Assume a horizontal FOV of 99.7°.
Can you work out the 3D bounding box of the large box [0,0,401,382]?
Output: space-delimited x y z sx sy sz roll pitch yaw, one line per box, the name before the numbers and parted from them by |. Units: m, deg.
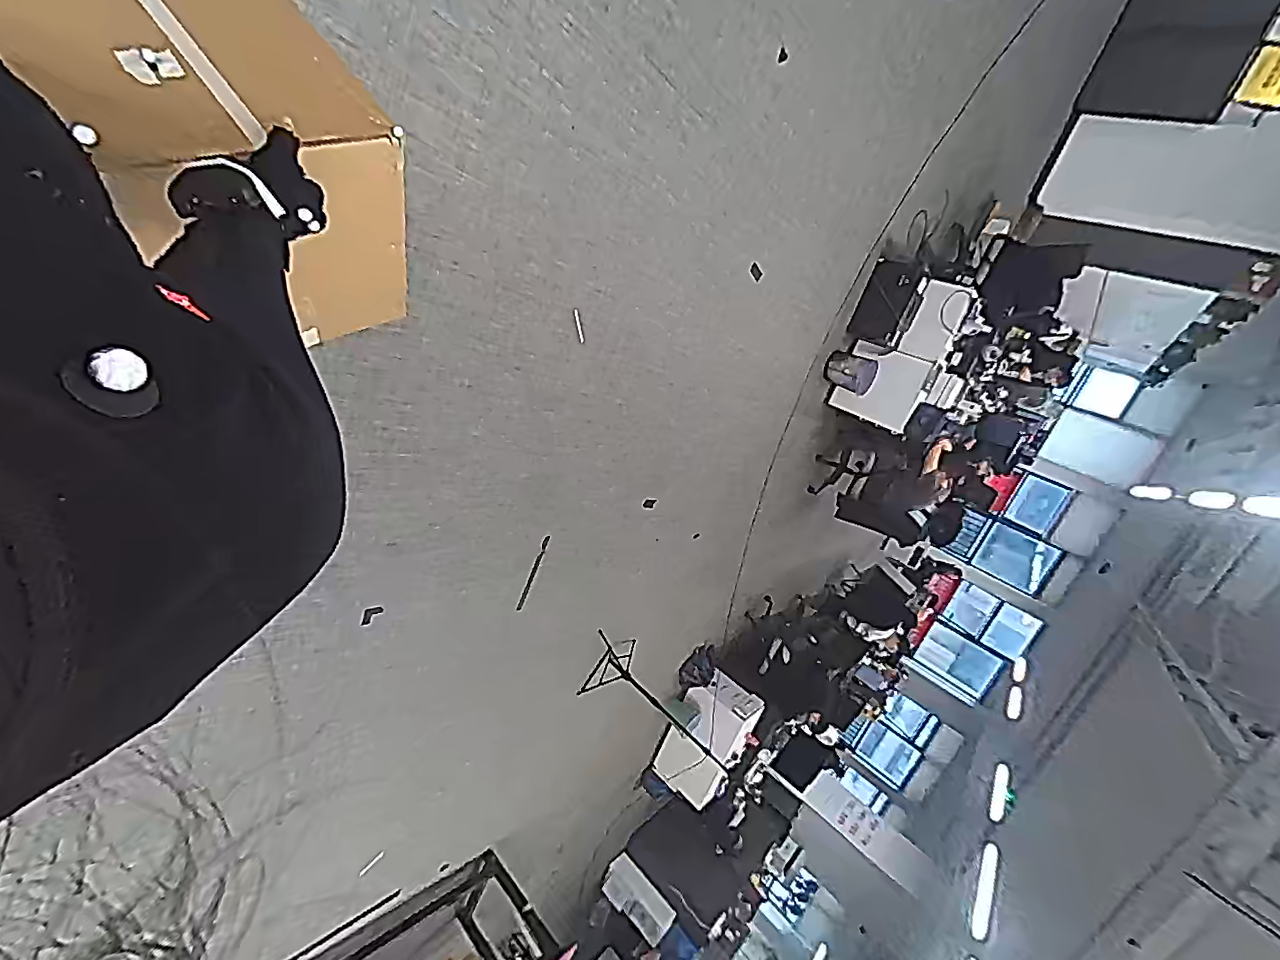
large box | -0.578 -0.415 0.735 0.320 0.408 0.320 -33 170 -33
